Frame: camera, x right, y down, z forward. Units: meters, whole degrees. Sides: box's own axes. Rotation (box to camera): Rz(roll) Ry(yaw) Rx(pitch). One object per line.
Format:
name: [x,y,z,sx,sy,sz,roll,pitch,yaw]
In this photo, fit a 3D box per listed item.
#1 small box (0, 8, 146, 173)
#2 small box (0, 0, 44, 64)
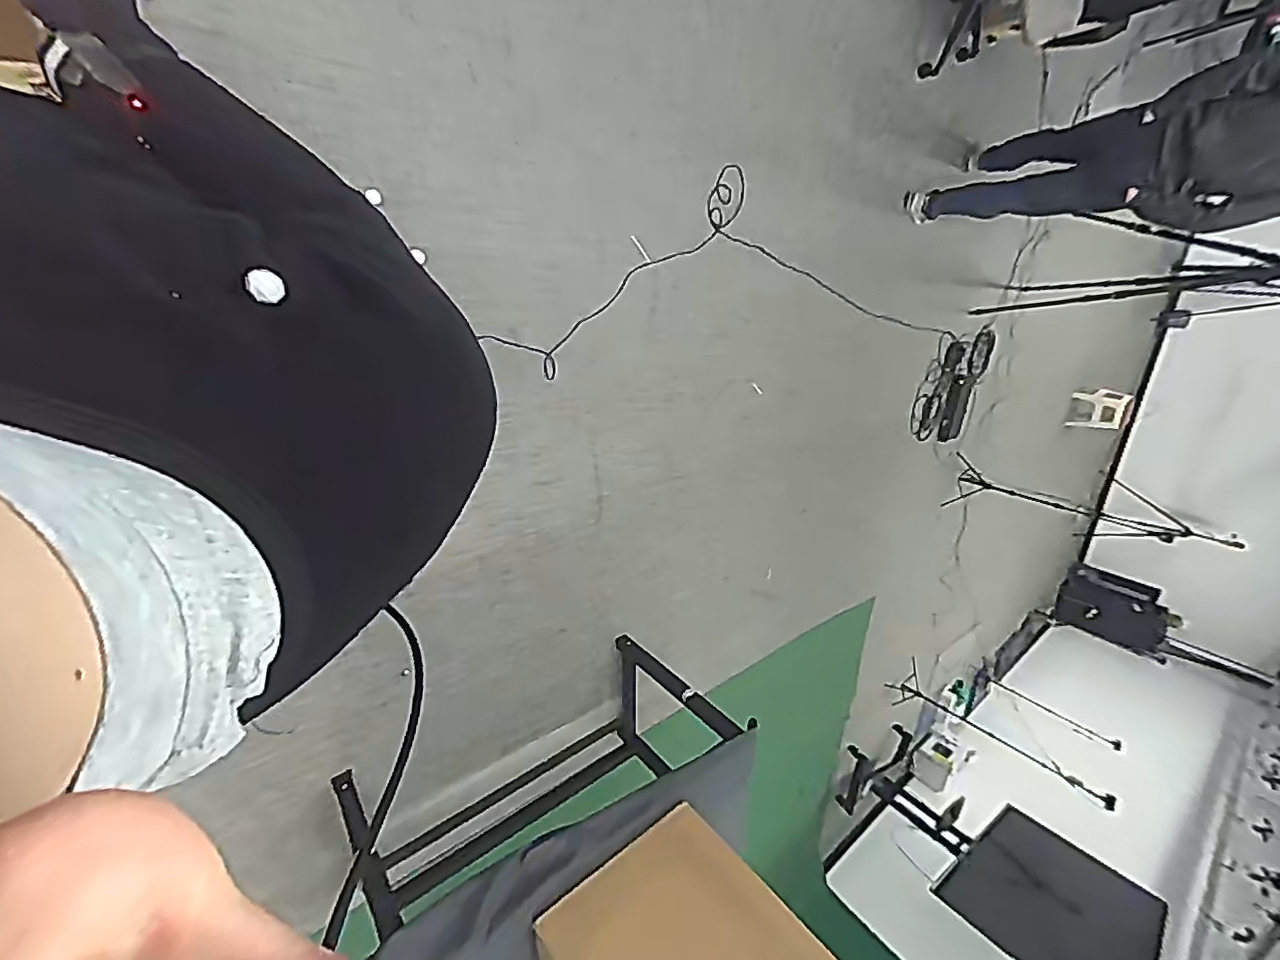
small box: [-0.896,-0.580,0.819,0.168,0.176,0.179,-27,125,-30]
small box: [-0.602,-0.446,0.395,0.168,0.176,0.179,-22,107,-33]
